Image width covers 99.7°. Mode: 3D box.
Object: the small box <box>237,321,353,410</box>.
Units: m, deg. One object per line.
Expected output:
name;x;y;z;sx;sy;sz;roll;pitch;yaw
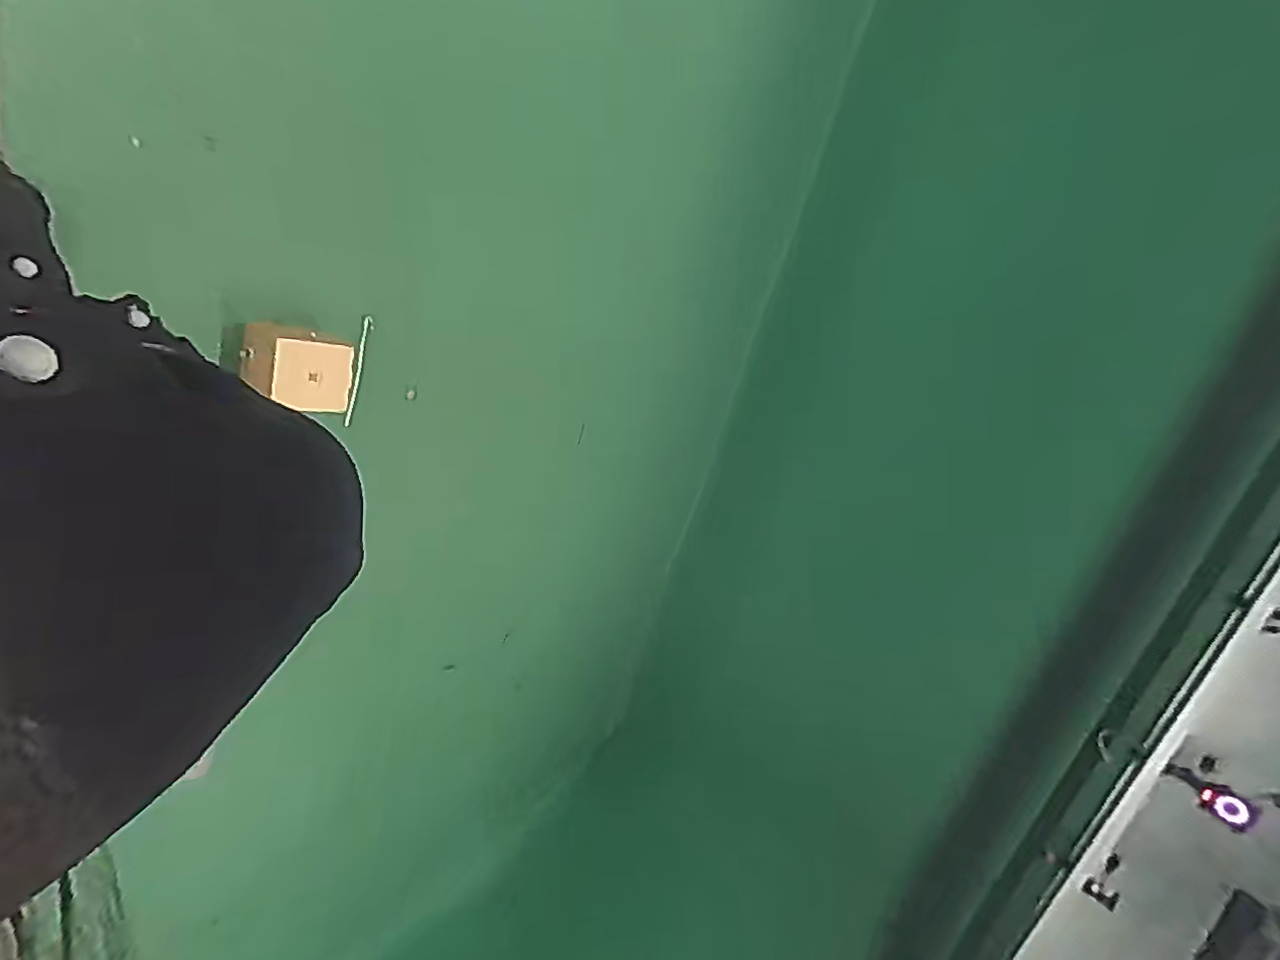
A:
small box;-0.825;-0.272;1.294;0.179;0.176;0.168;-8;118;-55
